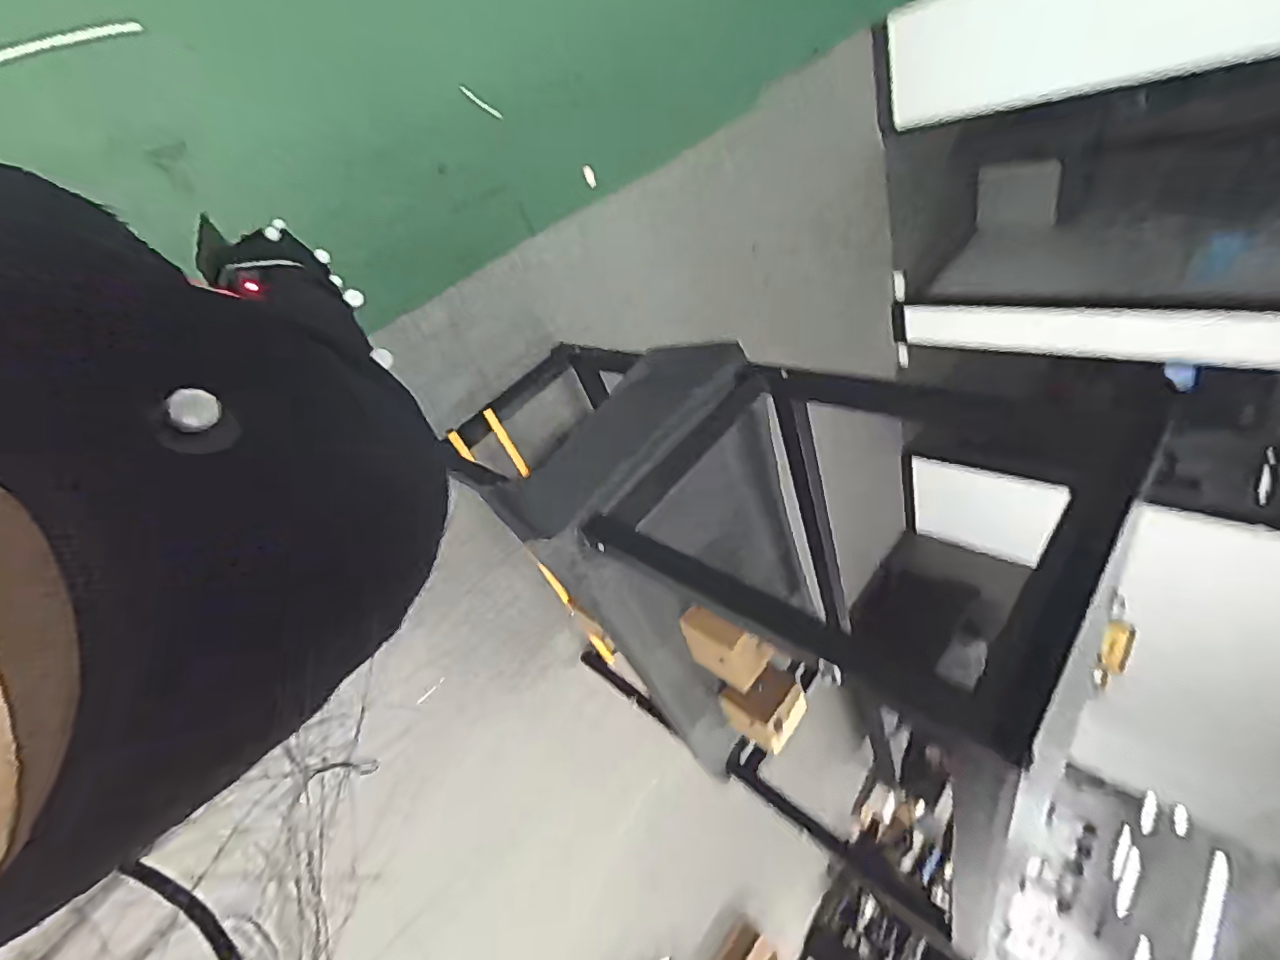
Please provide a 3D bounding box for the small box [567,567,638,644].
[{"bbox_3d":[-0.141,0.448,1.951,0.179,0.176,0.168,-42,130,-26],"label":"small box"}]

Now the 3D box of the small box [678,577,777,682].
[{"bbox_3d":[0.220,0.367,1.371,0.168,0.176,0.179,-43,130,-26],"label":"small box"}]
